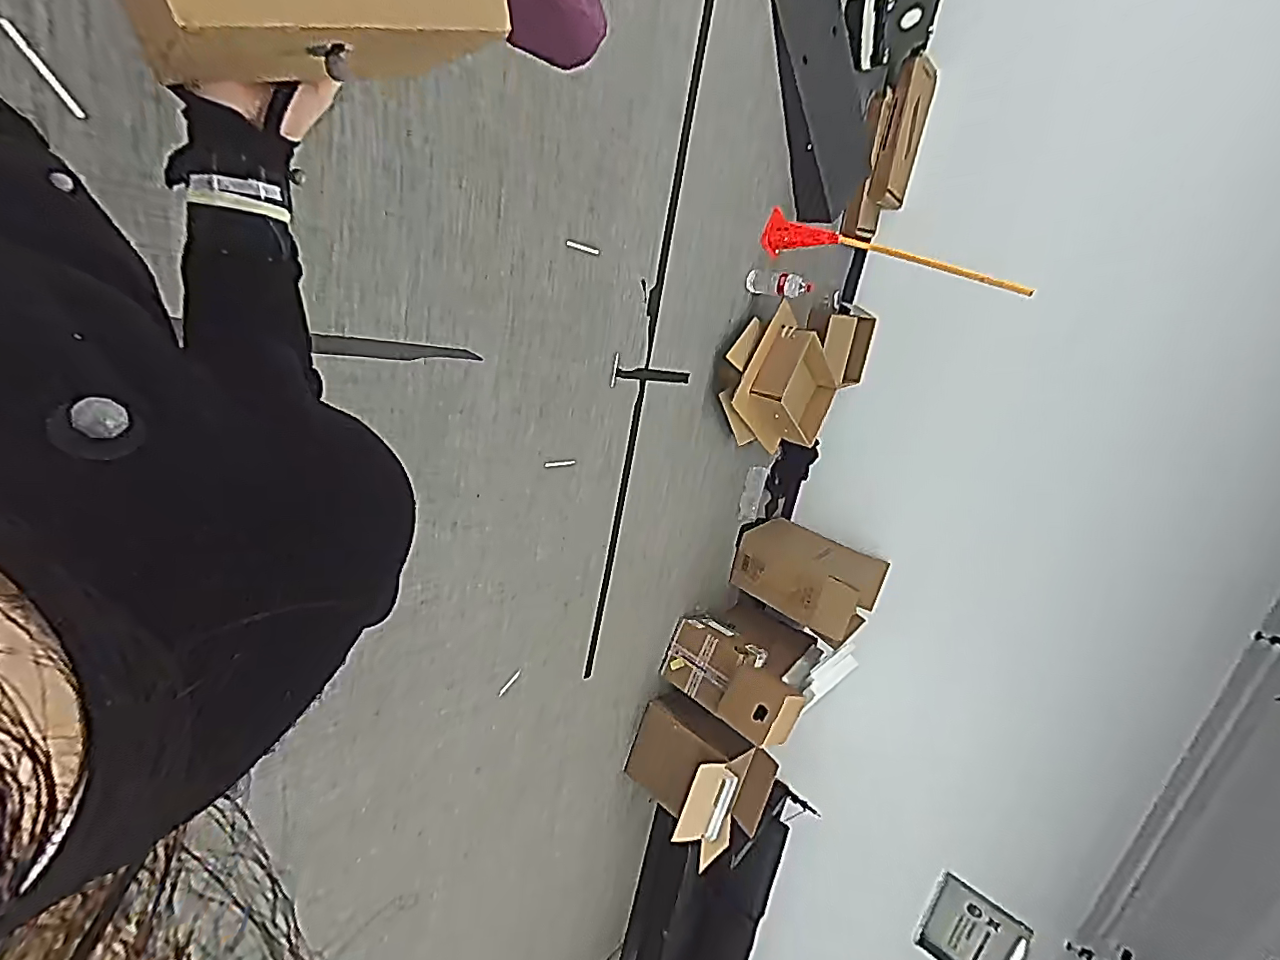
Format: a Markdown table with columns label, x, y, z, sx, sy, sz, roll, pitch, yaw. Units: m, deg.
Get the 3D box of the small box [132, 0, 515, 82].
| label | x | y | z | sx | sy | sz | roll | pitch | yaw |
| --- | --- | --- | --- | --- | --- | --- | --- | --- | --- |
| small box | -0.202 | -0.336 | 0.302 | 0.179 | 0.176 | 0.168 | -30 | 129 | -31 |
